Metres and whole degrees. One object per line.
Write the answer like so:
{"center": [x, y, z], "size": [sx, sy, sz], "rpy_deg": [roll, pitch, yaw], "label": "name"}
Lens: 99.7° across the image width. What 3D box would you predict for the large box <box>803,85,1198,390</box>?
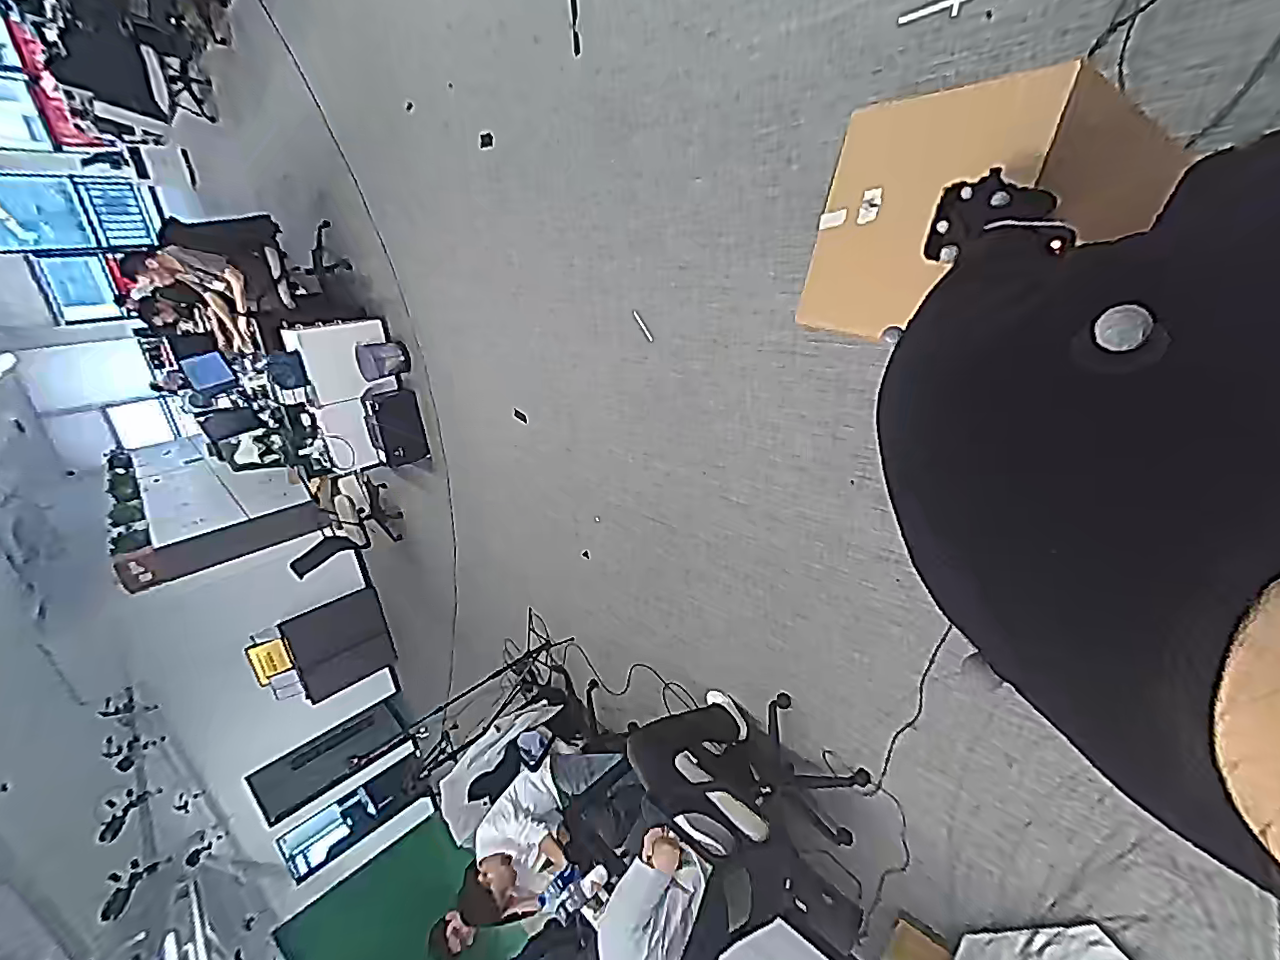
{"center": [0.533, -0.339, 0.842], "size": [0.320, 0.408, 0.320], "rpy_deg": [40, 123, 52], "label": "large box"}
